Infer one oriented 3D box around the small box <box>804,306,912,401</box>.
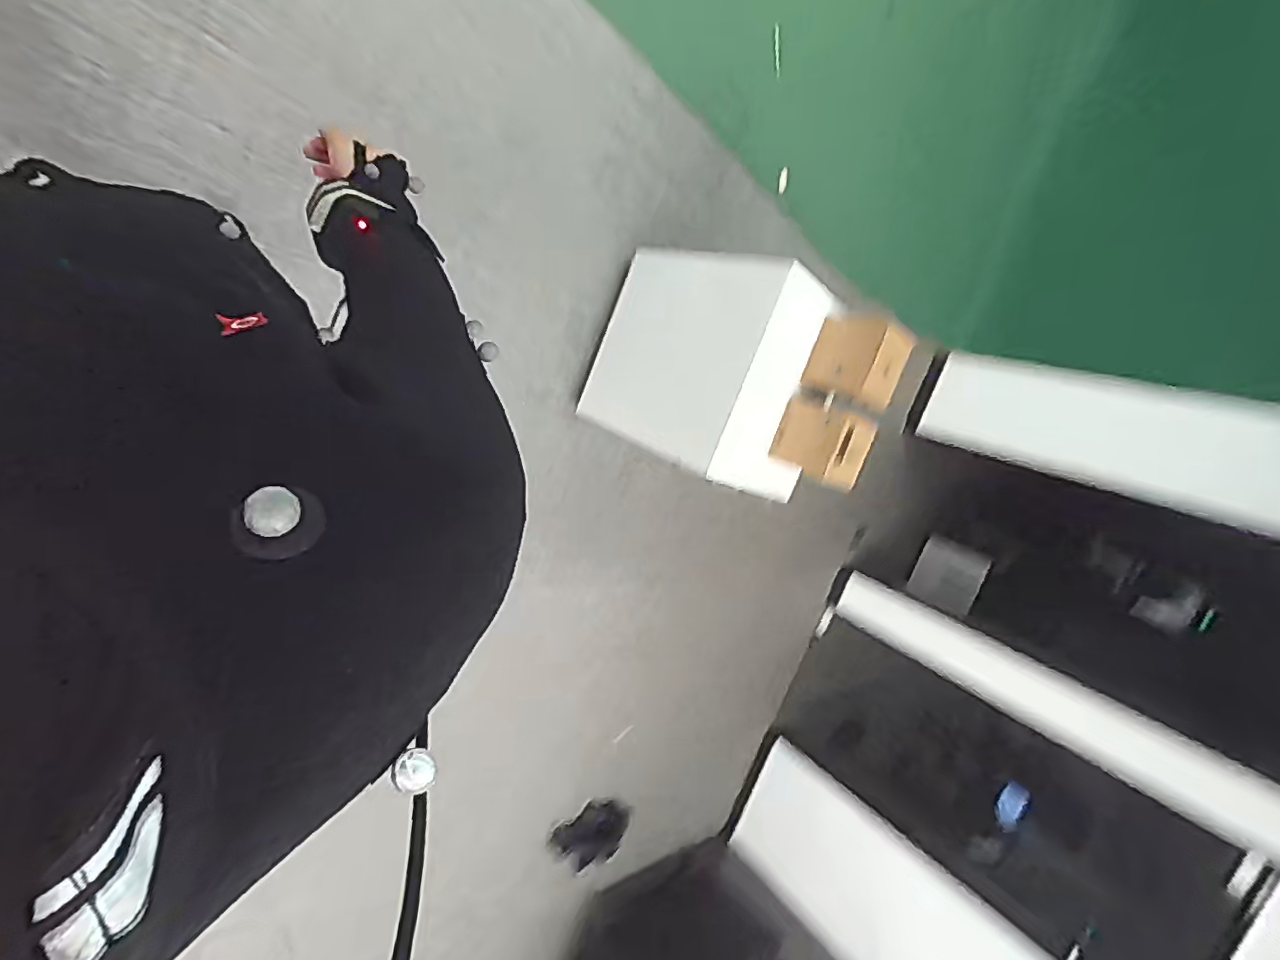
[{"bbox_3d":[0.535,-0.316,1.346,0.168,0.176,0.179,7,105,-46],"label":"small box"}]
